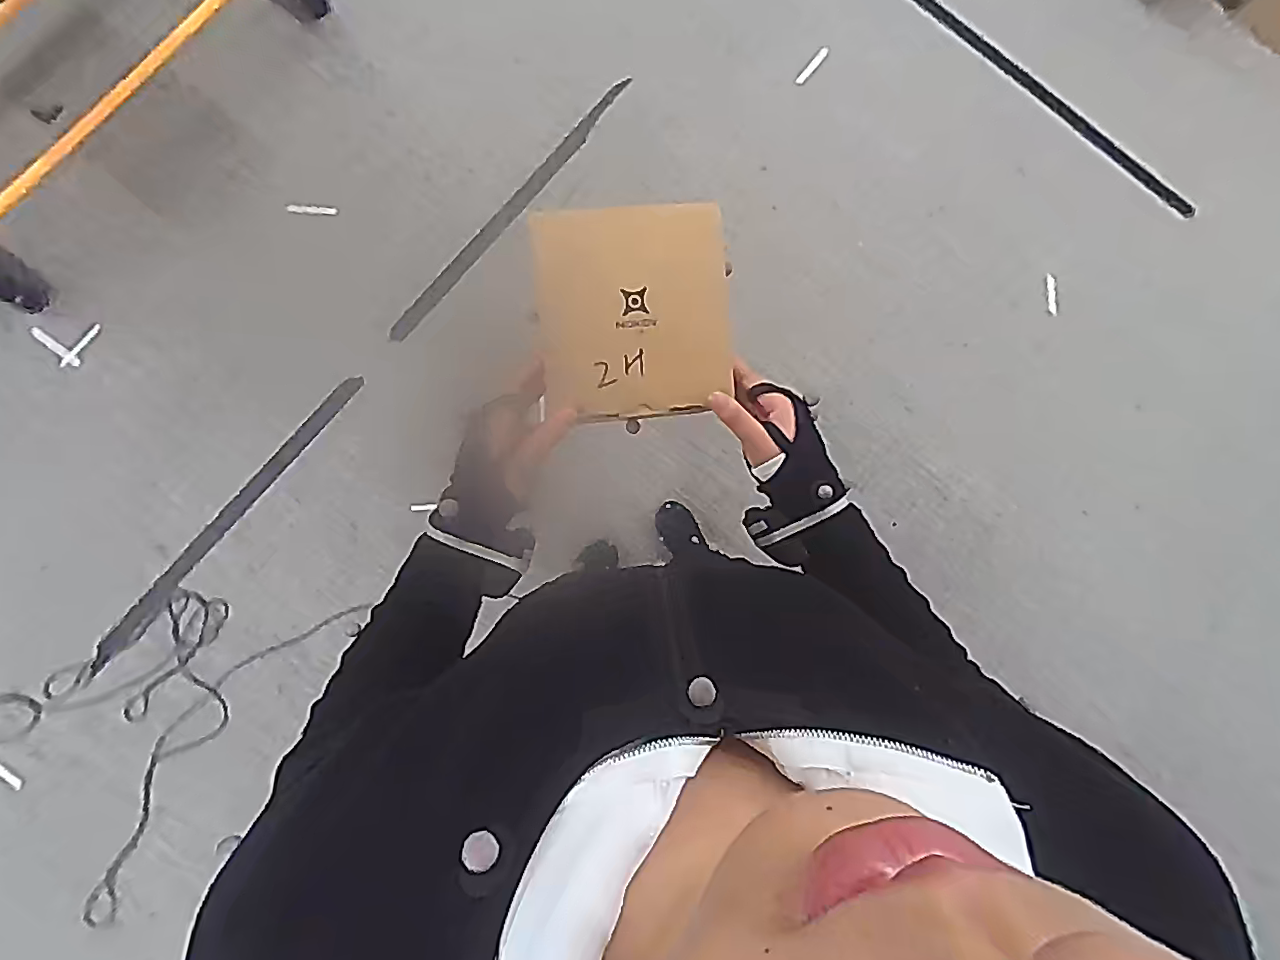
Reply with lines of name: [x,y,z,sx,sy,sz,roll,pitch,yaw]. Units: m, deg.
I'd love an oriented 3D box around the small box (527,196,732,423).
small box: [-0.015,-0.155,0.543,0.168,0.176,0.179,-7,95,-5]
